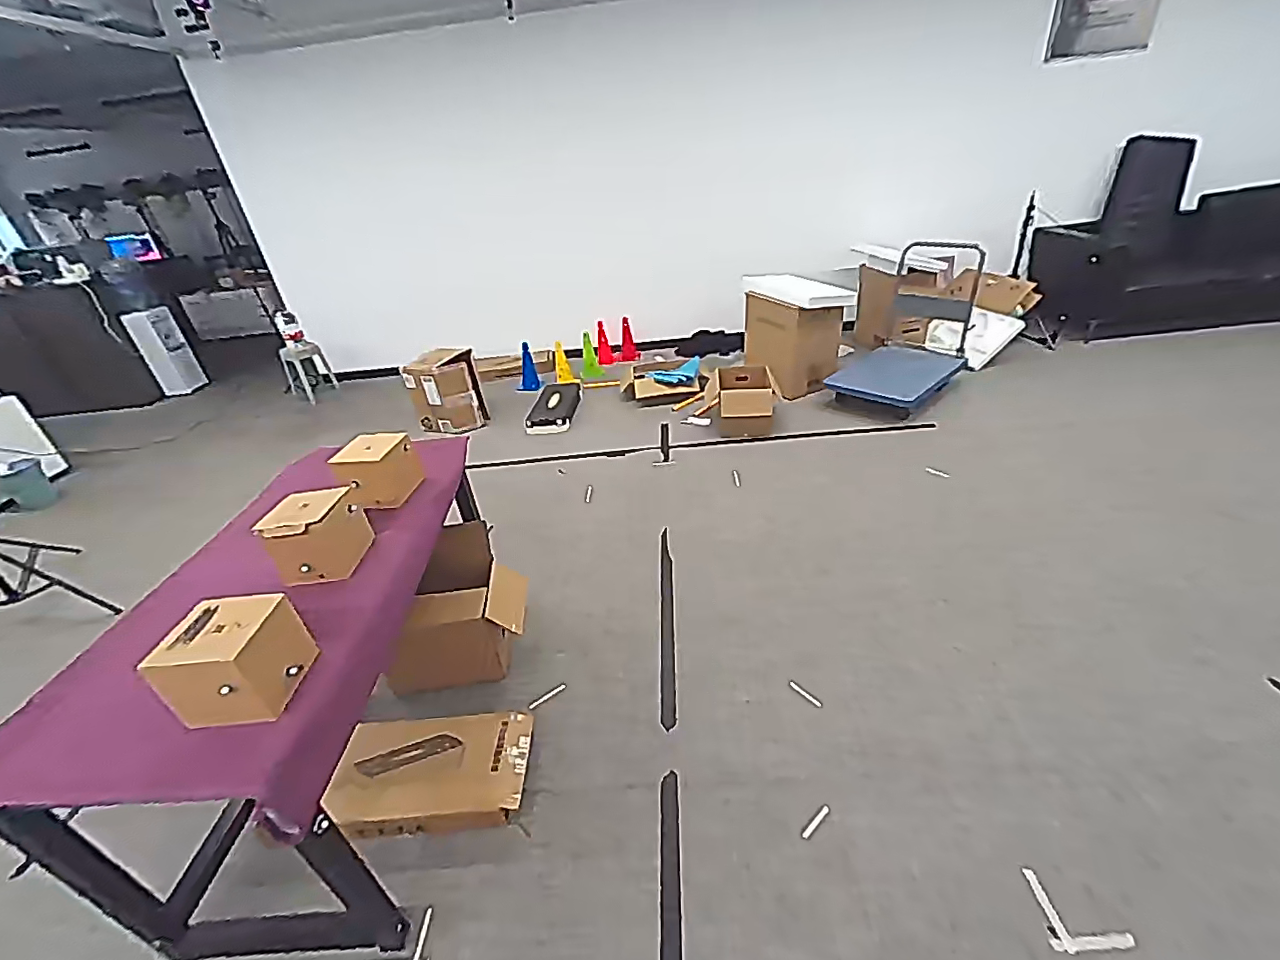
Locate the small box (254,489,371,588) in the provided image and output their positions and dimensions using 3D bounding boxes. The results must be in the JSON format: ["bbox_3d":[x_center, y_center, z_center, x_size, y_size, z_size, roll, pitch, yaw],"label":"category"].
[{"bbox_3d":[-0.809,0.147,1.361,0.168,0.176,0.179,-8,31,3],"label":"small box"}]

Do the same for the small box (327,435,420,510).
[{"bbox_3d":[-0.792,-0.018,1.634,0.168,0.176,0.179,-2,31,8],"label":"small box"}]
